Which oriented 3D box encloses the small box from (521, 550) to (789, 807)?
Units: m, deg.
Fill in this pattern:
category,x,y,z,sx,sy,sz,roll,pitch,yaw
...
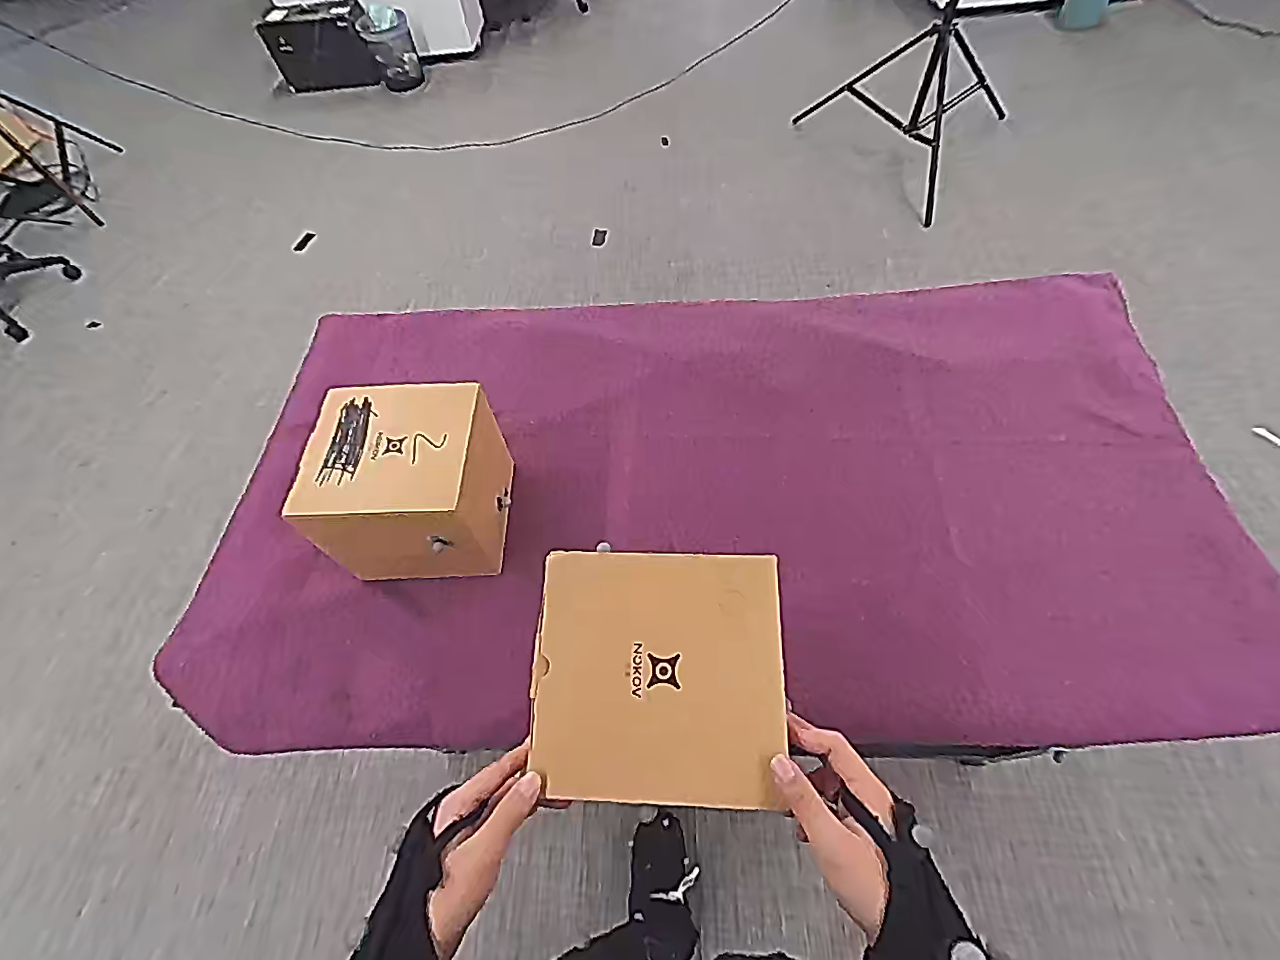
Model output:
category,x,y,z,sx,sy,sz,roll,pitch,yaw
small box,0.017,0.158,0.450,0.179,0.176,0.168,-1,68,6
